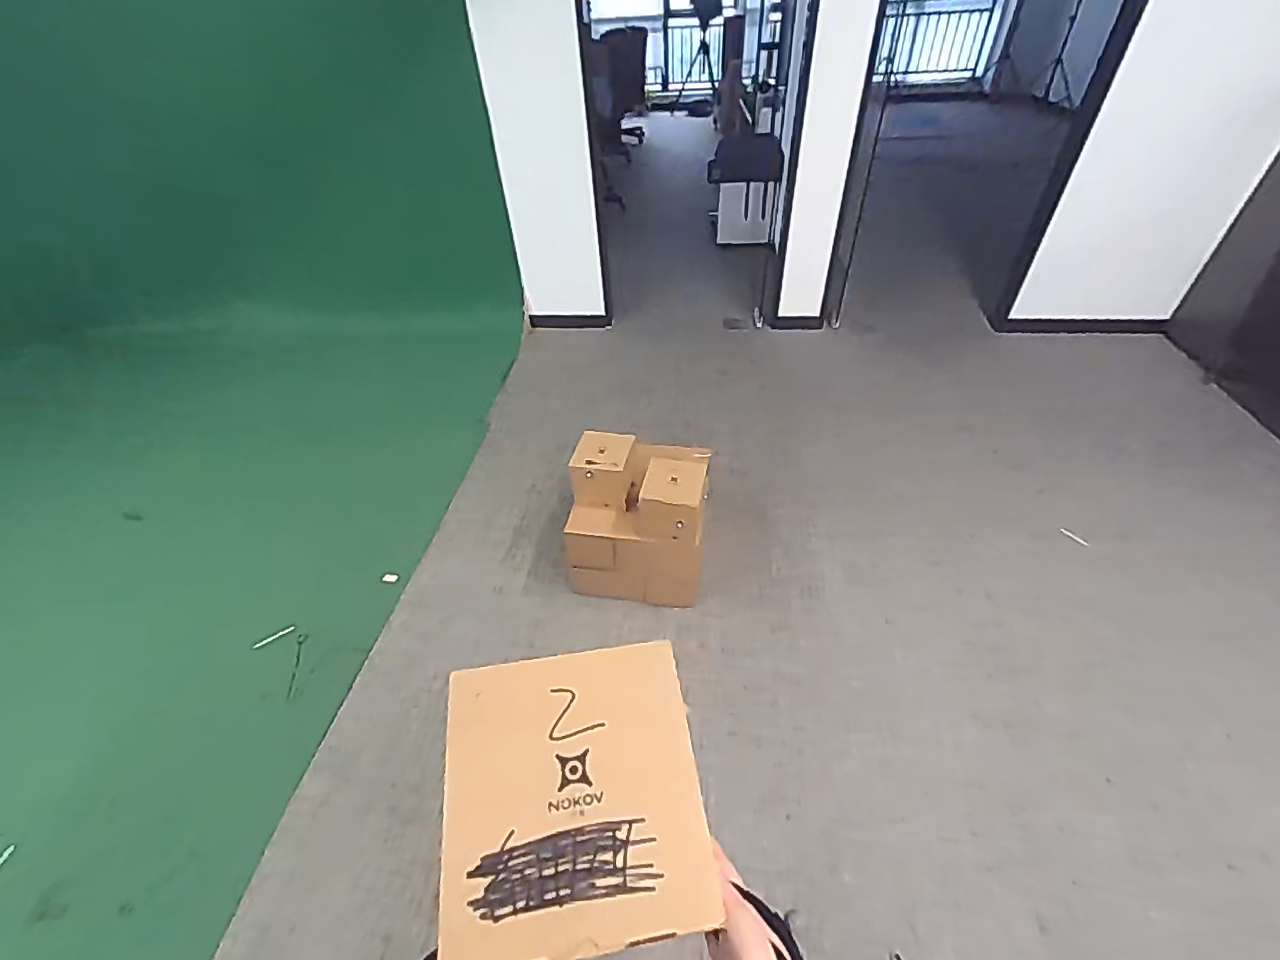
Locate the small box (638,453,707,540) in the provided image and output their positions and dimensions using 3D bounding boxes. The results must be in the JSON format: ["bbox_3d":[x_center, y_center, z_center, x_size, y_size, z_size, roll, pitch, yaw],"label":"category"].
[{"bbox_3d":[0.095,0.048,1.555,0.168,0.176,0.179,9,43,11],"label":"small box"}]

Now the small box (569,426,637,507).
[{"bbox_3d":[-0.107,-0.043,1.667,0.168,0.176,0.179,6,42,12],"label":"small box"}]
